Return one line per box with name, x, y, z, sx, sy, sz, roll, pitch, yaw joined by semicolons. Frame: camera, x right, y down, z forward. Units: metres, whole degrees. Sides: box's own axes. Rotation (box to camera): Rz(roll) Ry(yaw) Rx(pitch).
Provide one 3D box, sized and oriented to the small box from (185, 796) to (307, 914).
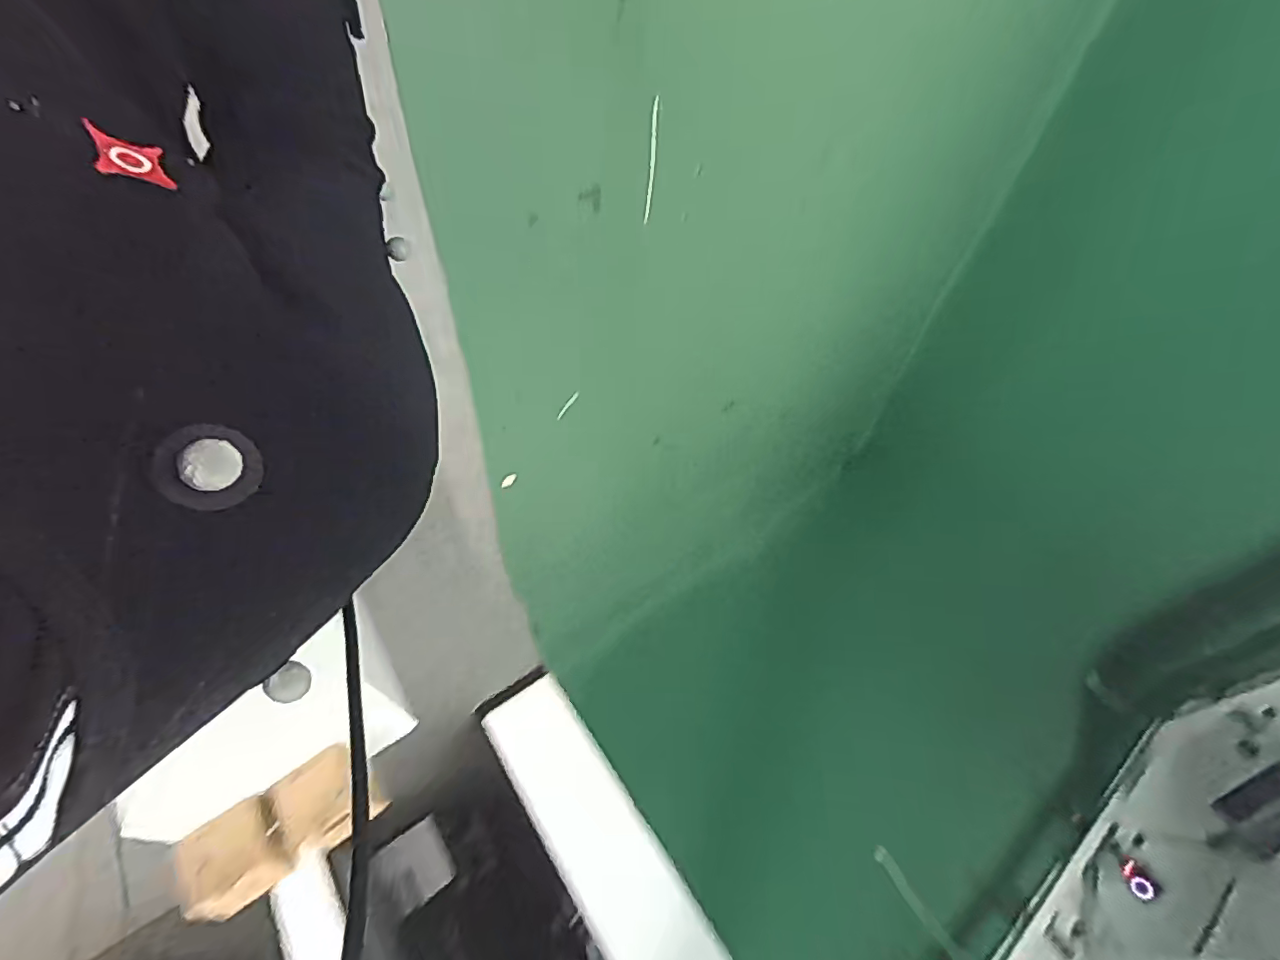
small box;-0.953;0.903;1.309;0.168;0.176;0.179;-29;148;-23
